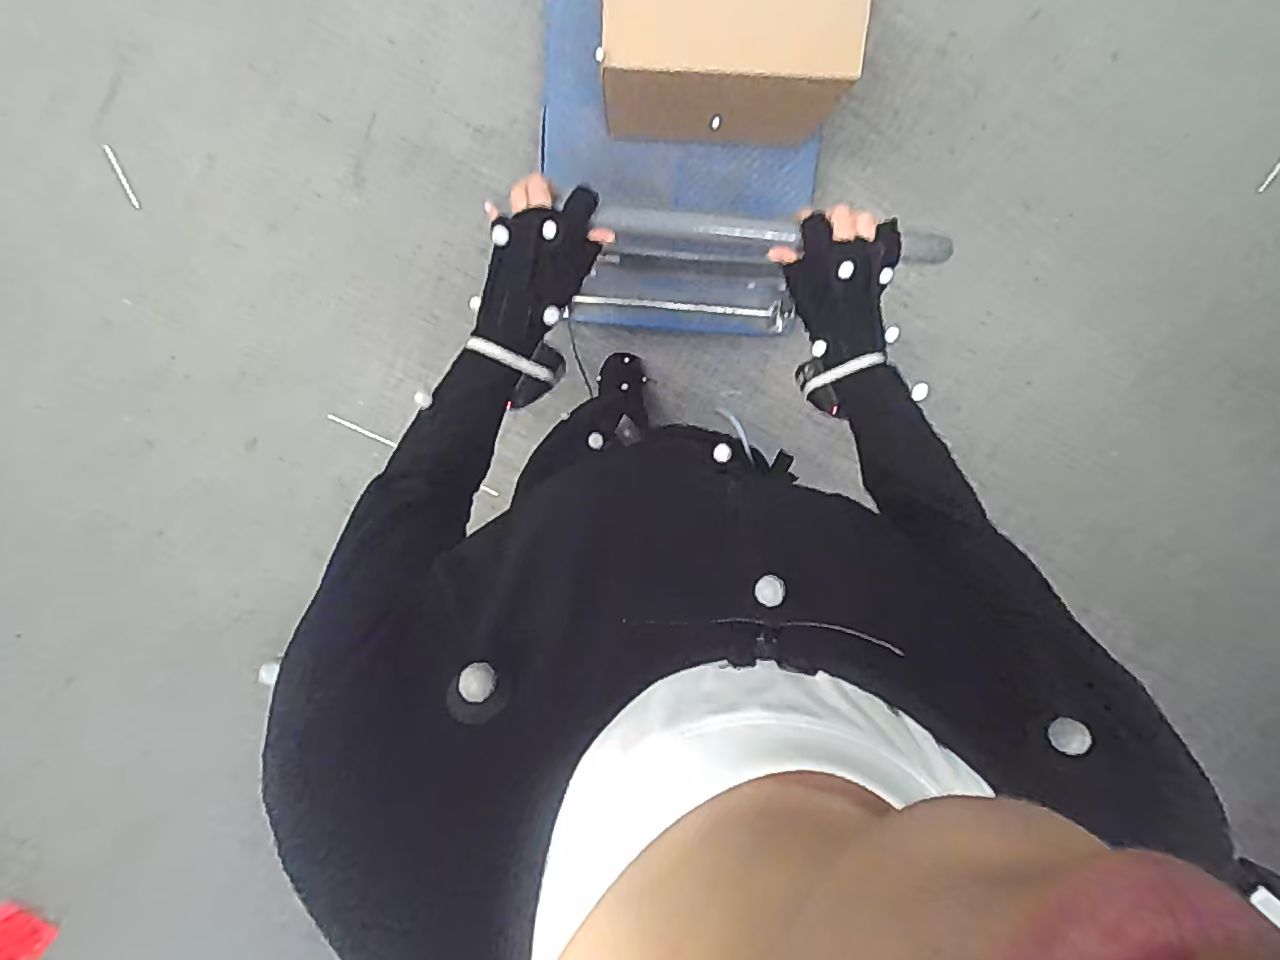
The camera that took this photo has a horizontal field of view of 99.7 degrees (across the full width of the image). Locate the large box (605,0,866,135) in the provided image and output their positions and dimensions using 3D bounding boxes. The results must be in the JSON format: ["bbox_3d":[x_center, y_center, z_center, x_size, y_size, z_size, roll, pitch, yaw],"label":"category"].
[{"bbox_3d":[0.148,-0.828,0.947,0.408,0.320,0.320,1,104,-1],"label":"large box"}]
